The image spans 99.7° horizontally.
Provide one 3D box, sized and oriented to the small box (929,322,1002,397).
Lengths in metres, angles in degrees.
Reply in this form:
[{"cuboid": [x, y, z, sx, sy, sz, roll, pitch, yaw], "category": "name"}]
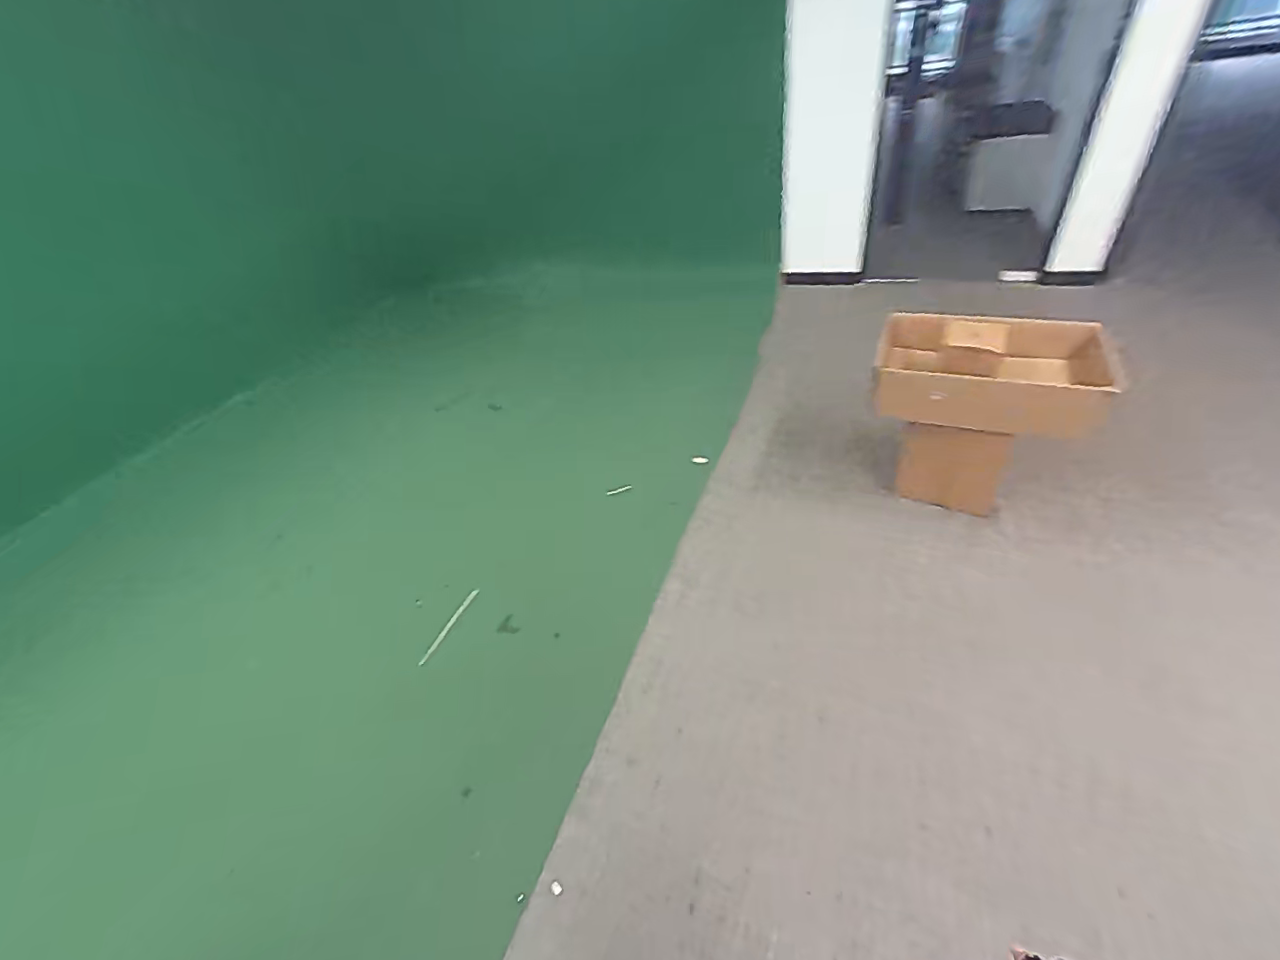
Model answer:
[{"cuboid": [1.047, -0.388, 1.743, 0.168, 0.176, 0.179, 15, 44, 23], "category": "small box"}]
